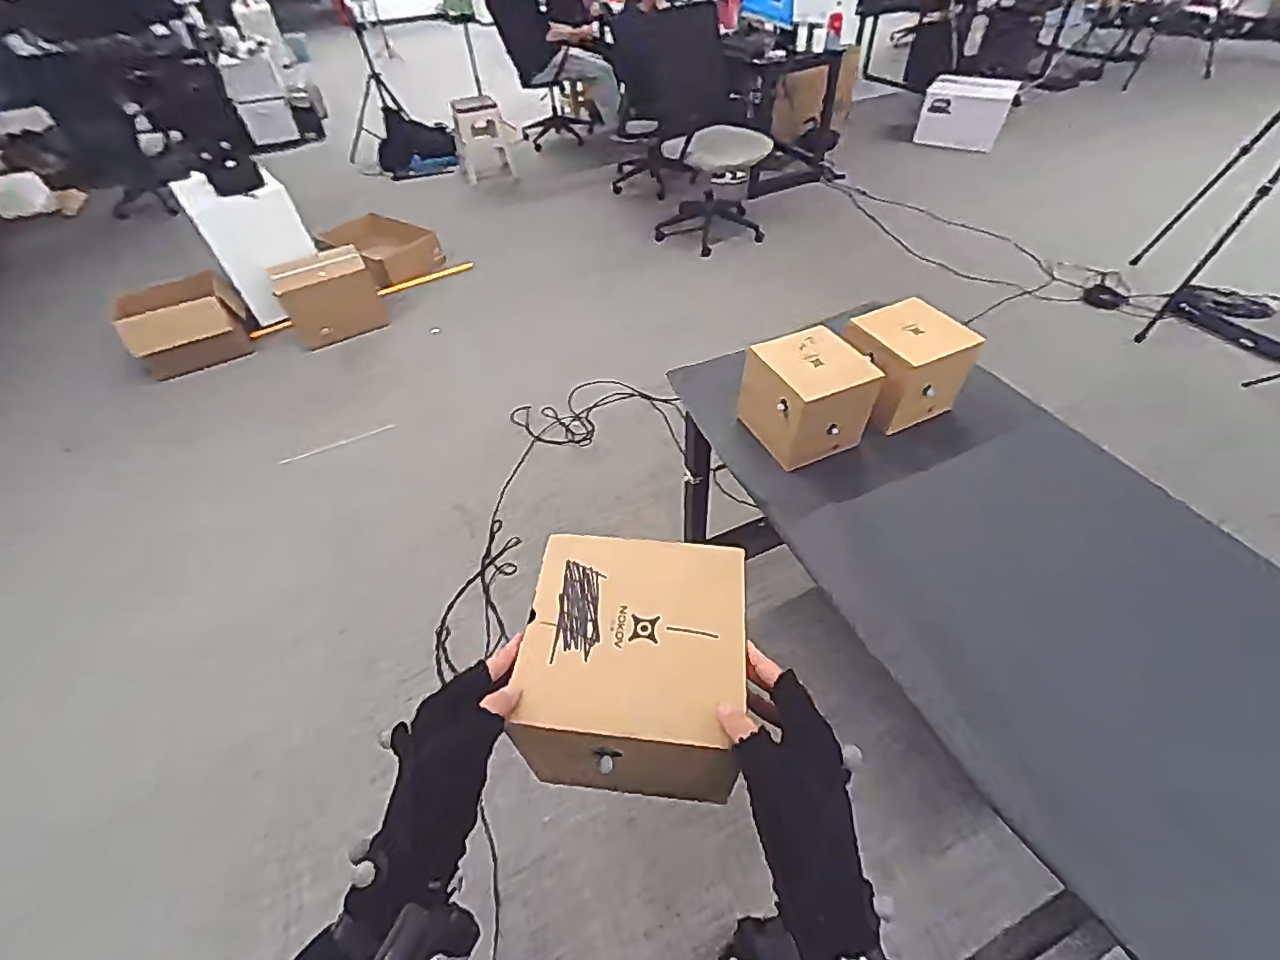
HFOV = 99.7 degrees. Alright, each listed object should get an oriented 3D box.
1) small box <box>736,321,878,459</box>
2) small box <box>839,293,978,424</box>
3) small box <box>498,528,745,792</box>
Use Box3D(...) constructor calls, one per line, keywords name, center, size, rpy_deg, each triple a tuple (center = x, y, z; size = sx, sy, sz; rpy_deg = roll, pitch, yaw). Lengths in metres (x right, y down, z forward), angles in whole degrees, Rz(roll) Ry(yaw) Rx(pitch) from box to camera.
Box3D(name="small box", center=(0.295, -0.159, 0.995), size=(0.168, 0.176, 0.179), rpy_deg=(-20, 51, -16))
Box3D(name="small box", center=(0.500, -0.230, 1.052), size=(0.168, 0.176, 0.179), rpy_deg=(-22, 50, -15))
Box3D(name="small box", center=(-0.003, 0.163, 0.484), size=(0.179, 0.176, 0.168), rpy_deg=(4, 49, 6))
